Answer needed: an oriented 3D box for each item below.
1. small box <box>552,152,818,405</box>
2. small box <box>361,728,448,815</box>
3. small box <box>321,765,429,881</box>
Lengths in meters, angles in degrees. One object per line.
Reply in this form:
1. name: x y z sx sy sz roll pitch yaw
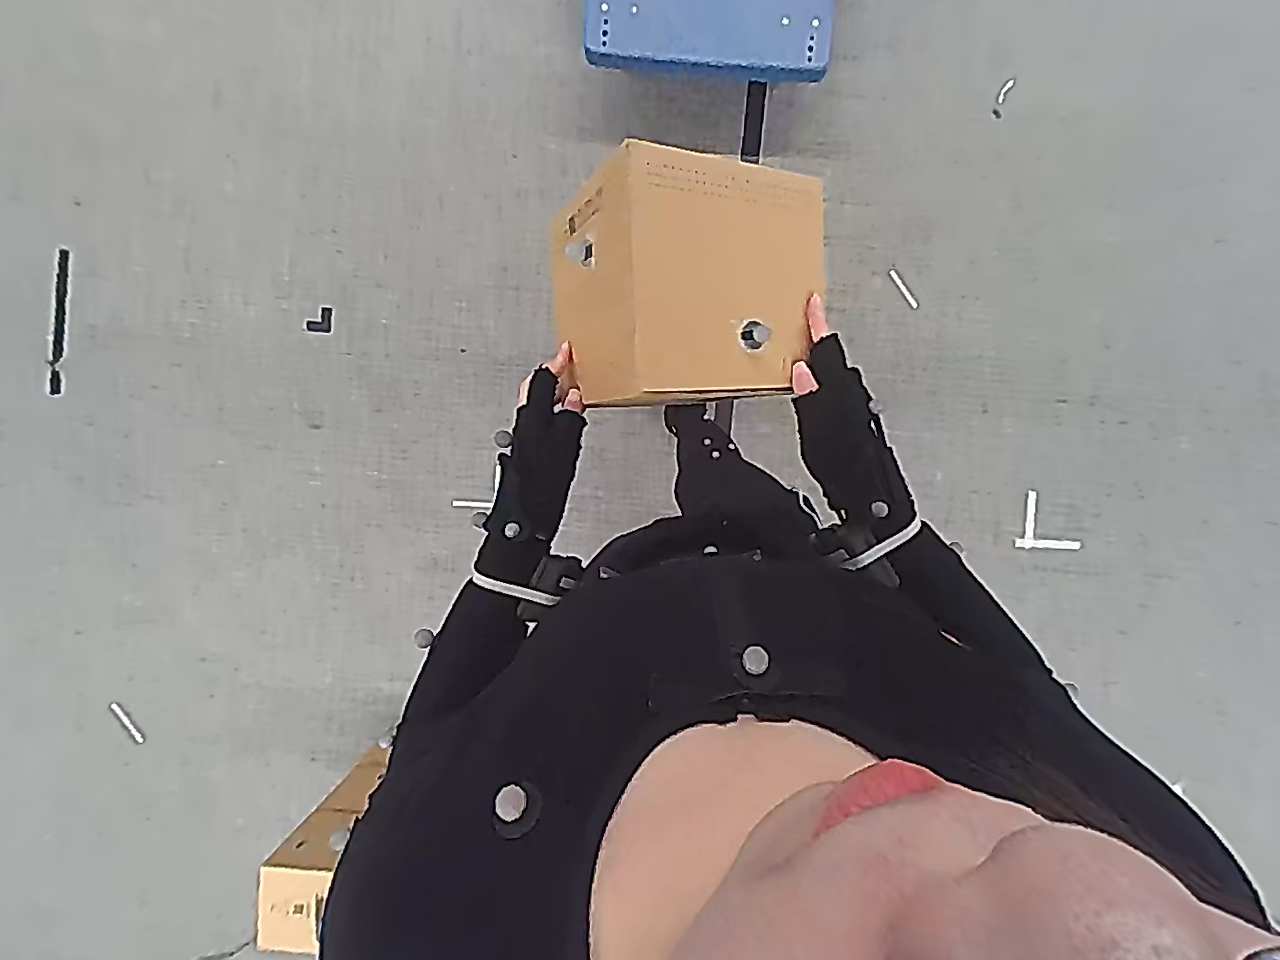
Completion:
1. small box: 0.034 -0.157 0.472 0.179 0.168 0.176 -6 97 -27
2. small box: -0.630 0.799 1.456 0.168 0.176 0.179 3 93 1
3. small box: -0.627 0.809 1.292 0.179 0.176 0.168 3 93 2
